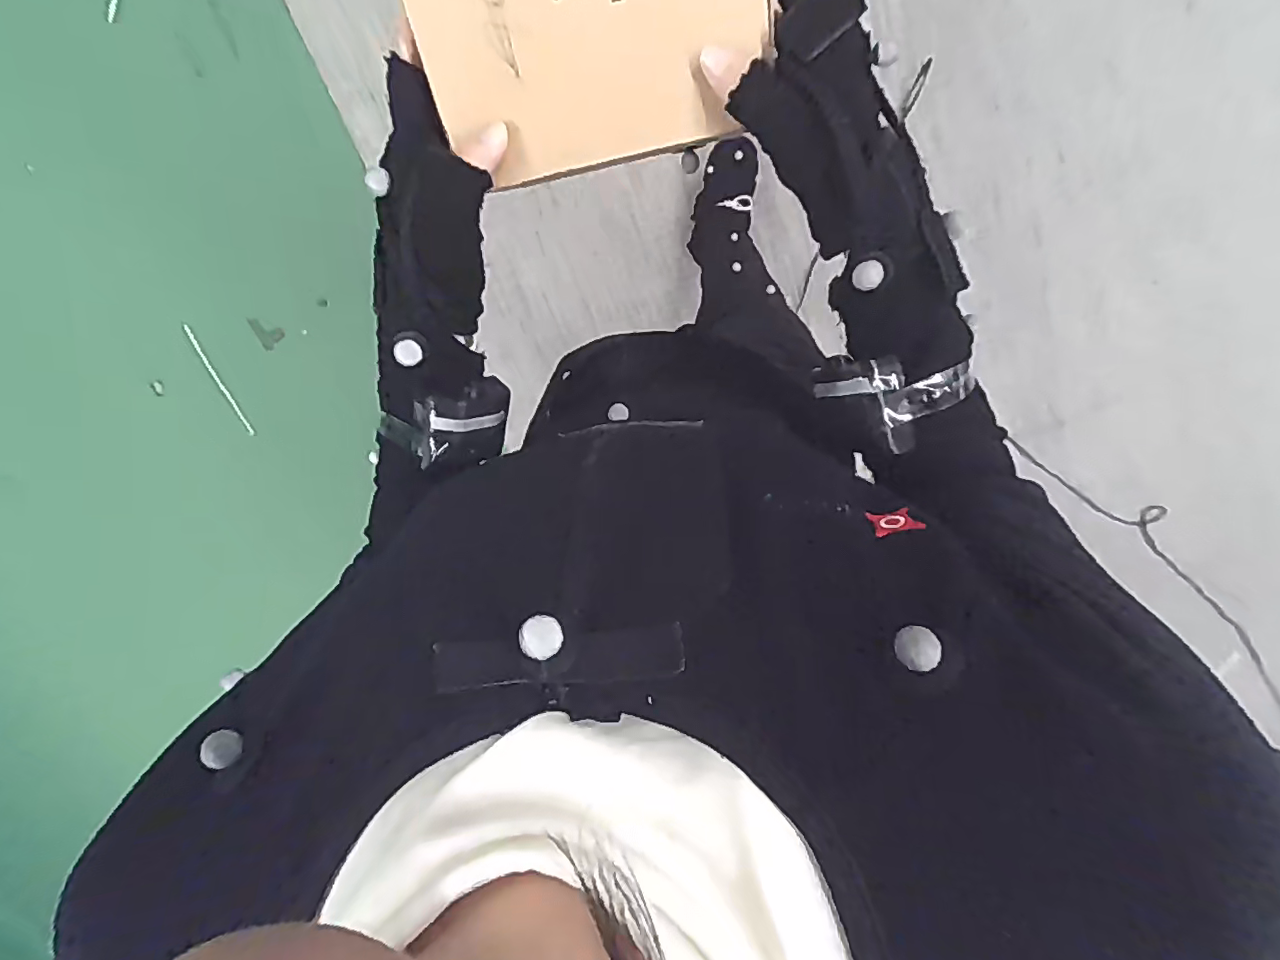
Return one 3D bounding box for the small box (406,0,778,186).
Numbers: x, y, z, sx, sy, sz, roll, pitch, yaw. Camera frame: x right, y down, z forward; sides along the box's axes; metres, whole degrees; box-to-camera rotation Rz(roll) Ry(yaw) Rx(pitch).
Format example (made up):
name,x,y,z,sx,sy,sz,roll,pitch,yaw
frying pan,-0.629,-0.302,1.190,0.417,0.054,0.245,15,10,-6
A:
name,x,y,z,sx,sy,sz,roll,pitch,yaw
small box,-0.028,-0.288,0.322,0.179,0.176,0.168,-11,118,8
